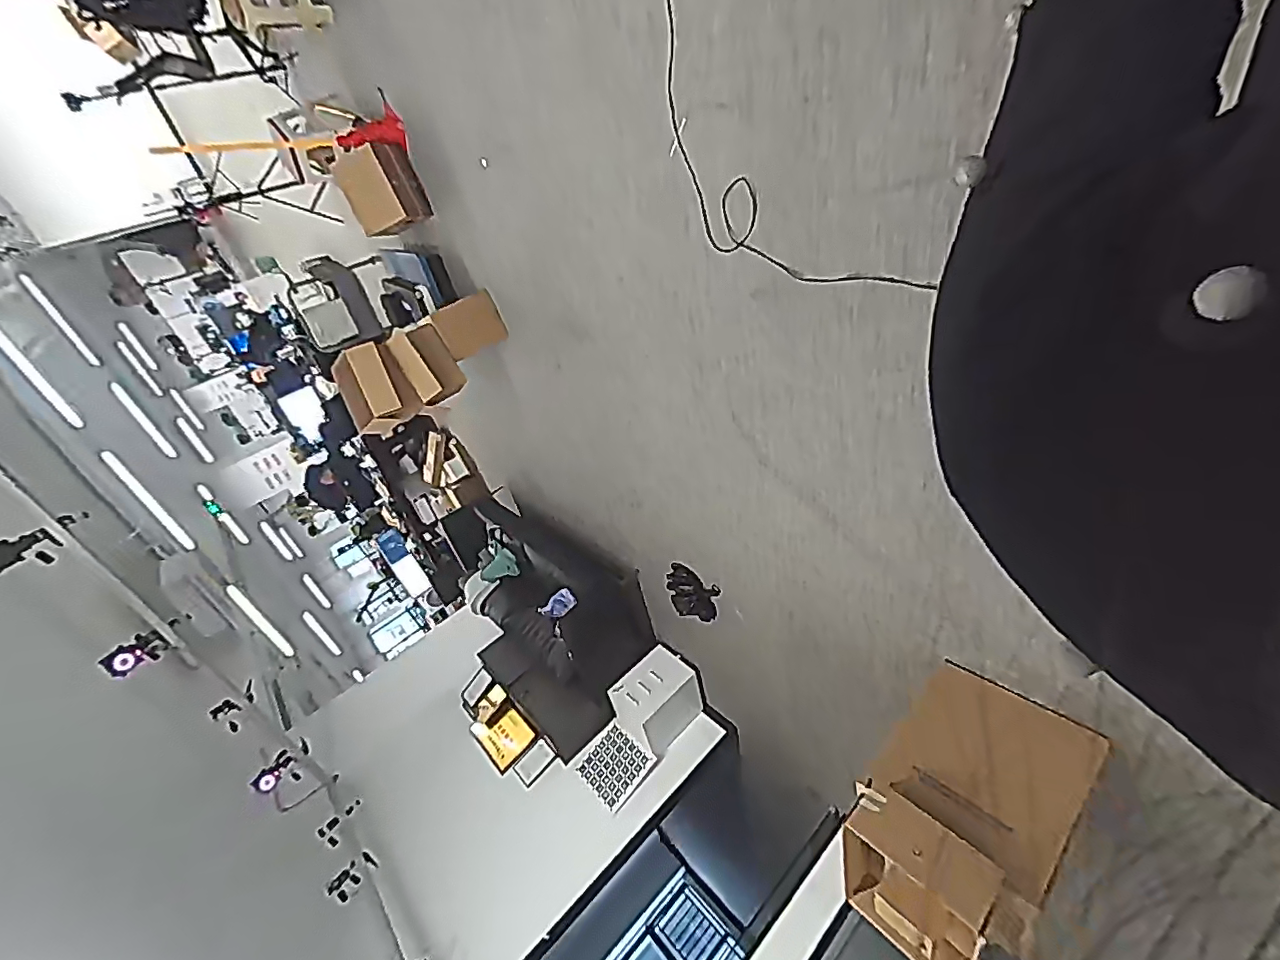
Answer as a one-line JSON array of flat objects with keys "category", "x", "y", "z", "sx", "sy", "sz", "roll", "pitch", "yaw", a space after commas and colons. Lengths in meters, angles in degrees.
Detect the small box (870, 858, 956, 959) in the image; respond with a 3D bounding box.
[{"category": "small box", "x": 0.829, "y": 1.303, "z": 1.652, "sx": 0.179, "sy": 0.176, "sz": 0.168, "roll": 26, "pitch": 142, "yaw": 46}]
